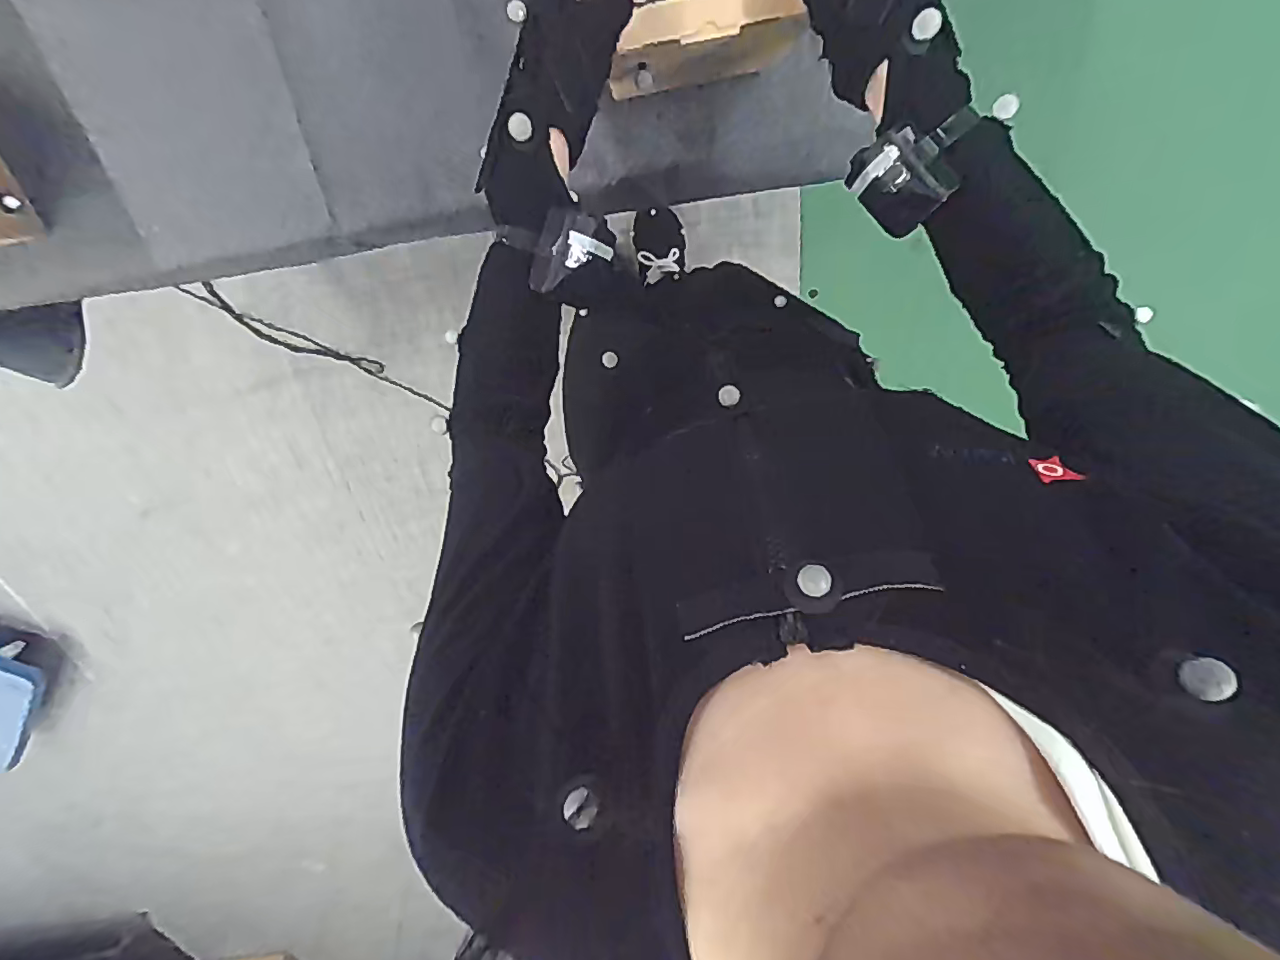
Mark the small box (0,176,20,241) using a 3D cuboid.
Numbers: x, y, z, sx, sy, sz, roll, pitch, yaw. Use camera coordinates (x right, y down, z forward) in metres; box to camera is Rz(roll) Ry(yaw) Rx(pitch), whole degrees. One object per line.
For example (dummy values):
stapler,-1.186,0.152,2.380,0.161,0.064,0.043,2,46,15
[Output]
small box,-0.756,-0.294,0.495,0.179,0.176,0.168,-10,118,2
